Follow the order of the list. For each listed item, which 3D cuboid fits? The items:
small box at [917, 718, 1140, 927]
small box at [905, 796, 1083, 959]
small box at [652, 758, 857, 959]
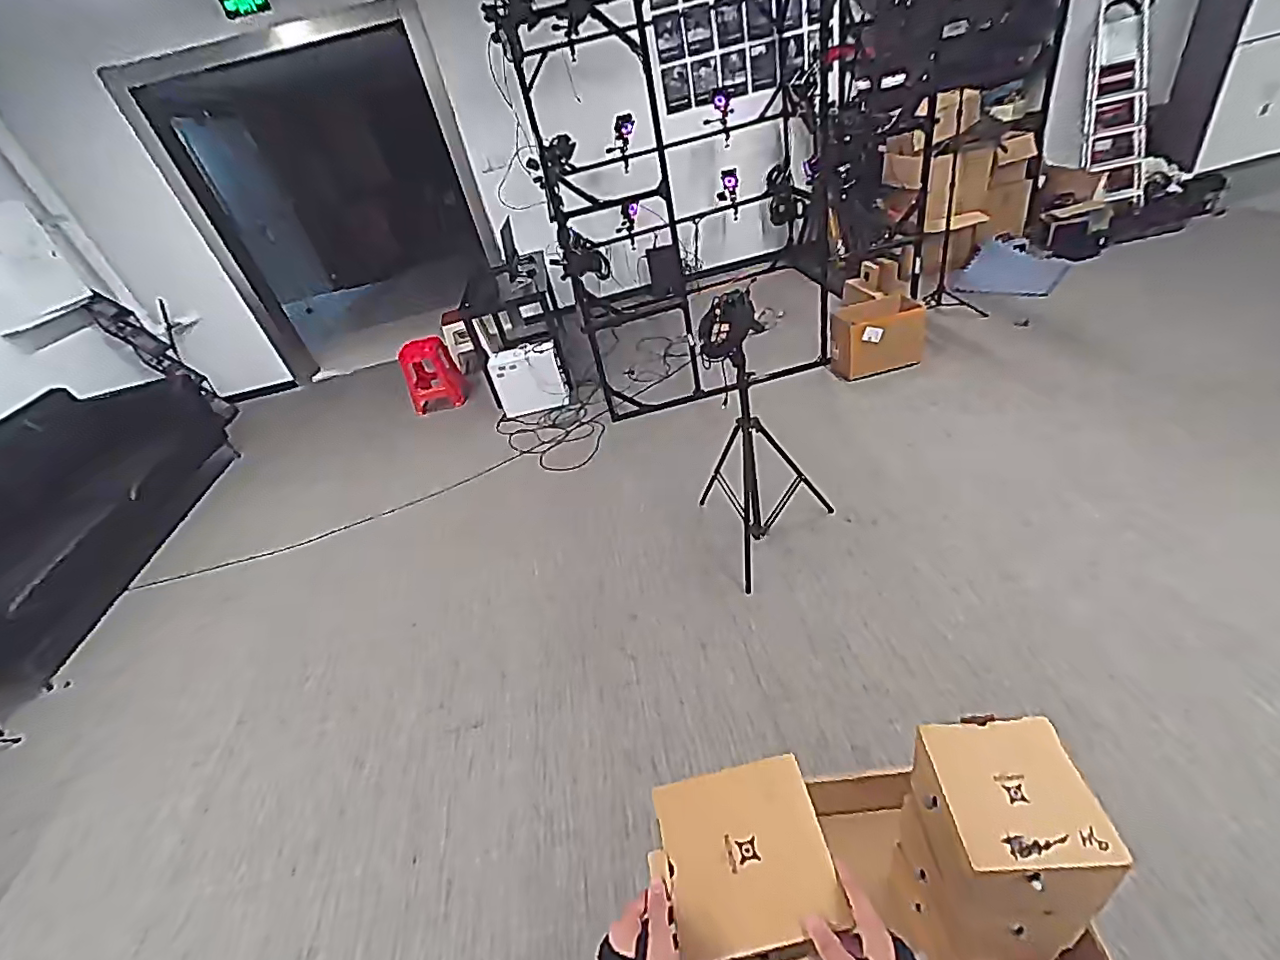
[{"bbox_3d":[0.472,0.437,0.695,0.168,0.176,0.179,-9,34,10],"label":"small box"},{"bbox_3d":[0.507,0.571,0.785,0.179,0.176,0.168,-13,35,5],"label":"small box"},{"bbox_3d":[0.126,0.450,0.622,0.179,0.176,0.168,-16,43,2],"label":"small box"}]
